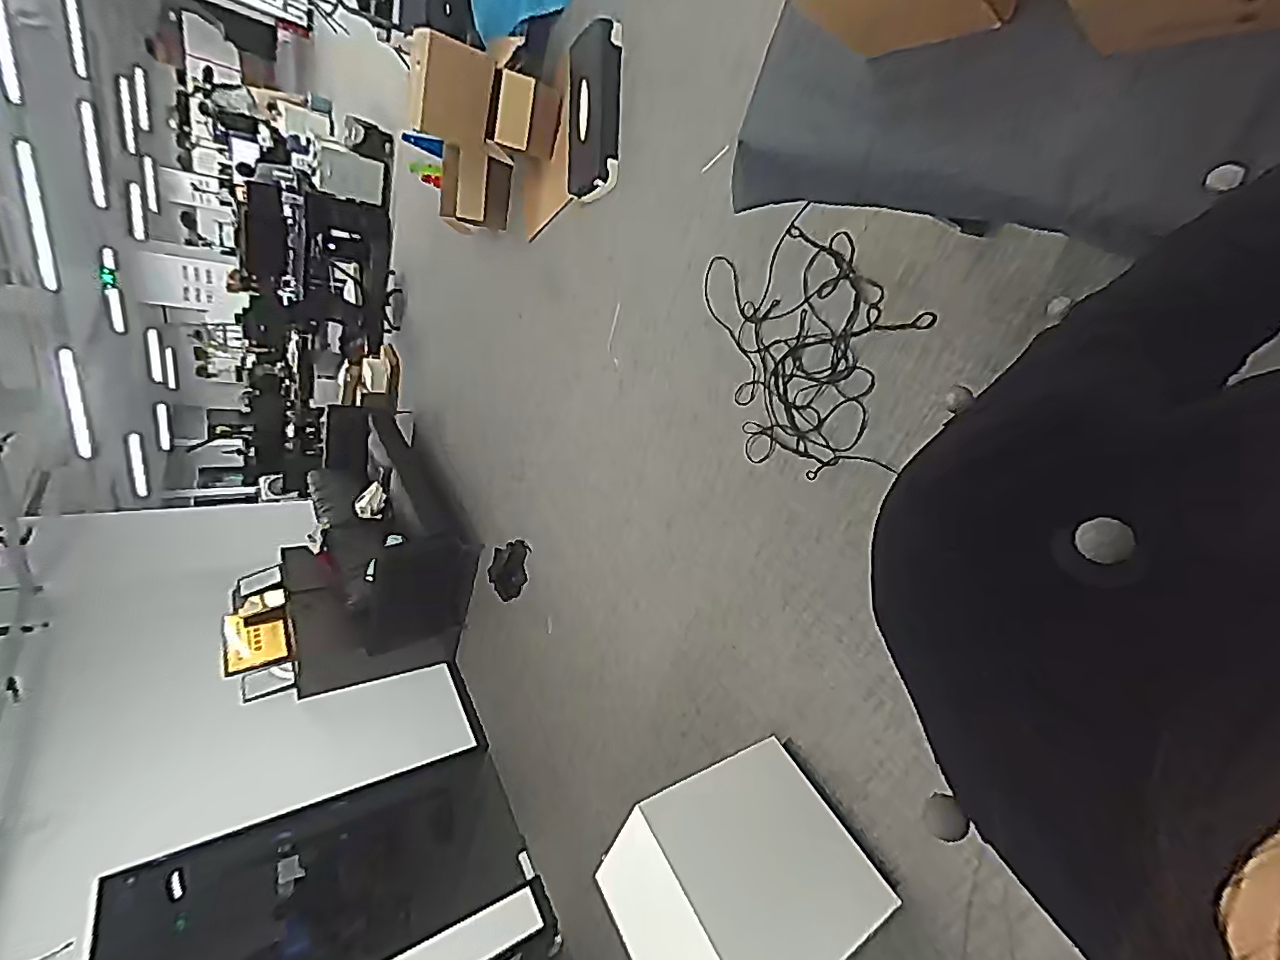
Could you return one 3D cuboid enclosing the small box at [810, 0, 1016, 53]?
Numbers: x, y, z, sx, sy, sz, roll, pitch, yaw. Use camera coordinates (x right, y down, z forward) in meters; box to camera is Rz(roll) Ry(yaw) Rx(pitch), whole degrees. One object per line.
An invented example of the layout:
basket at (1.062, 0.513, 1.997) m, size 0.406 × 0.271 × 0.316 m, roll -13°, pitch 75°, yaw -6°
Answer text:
small box at (0.291, -0.585, 0.560) m, size 0.179 × 0.176 × 0.168 m, roll 31°, pitch 116°, yaw 47°
